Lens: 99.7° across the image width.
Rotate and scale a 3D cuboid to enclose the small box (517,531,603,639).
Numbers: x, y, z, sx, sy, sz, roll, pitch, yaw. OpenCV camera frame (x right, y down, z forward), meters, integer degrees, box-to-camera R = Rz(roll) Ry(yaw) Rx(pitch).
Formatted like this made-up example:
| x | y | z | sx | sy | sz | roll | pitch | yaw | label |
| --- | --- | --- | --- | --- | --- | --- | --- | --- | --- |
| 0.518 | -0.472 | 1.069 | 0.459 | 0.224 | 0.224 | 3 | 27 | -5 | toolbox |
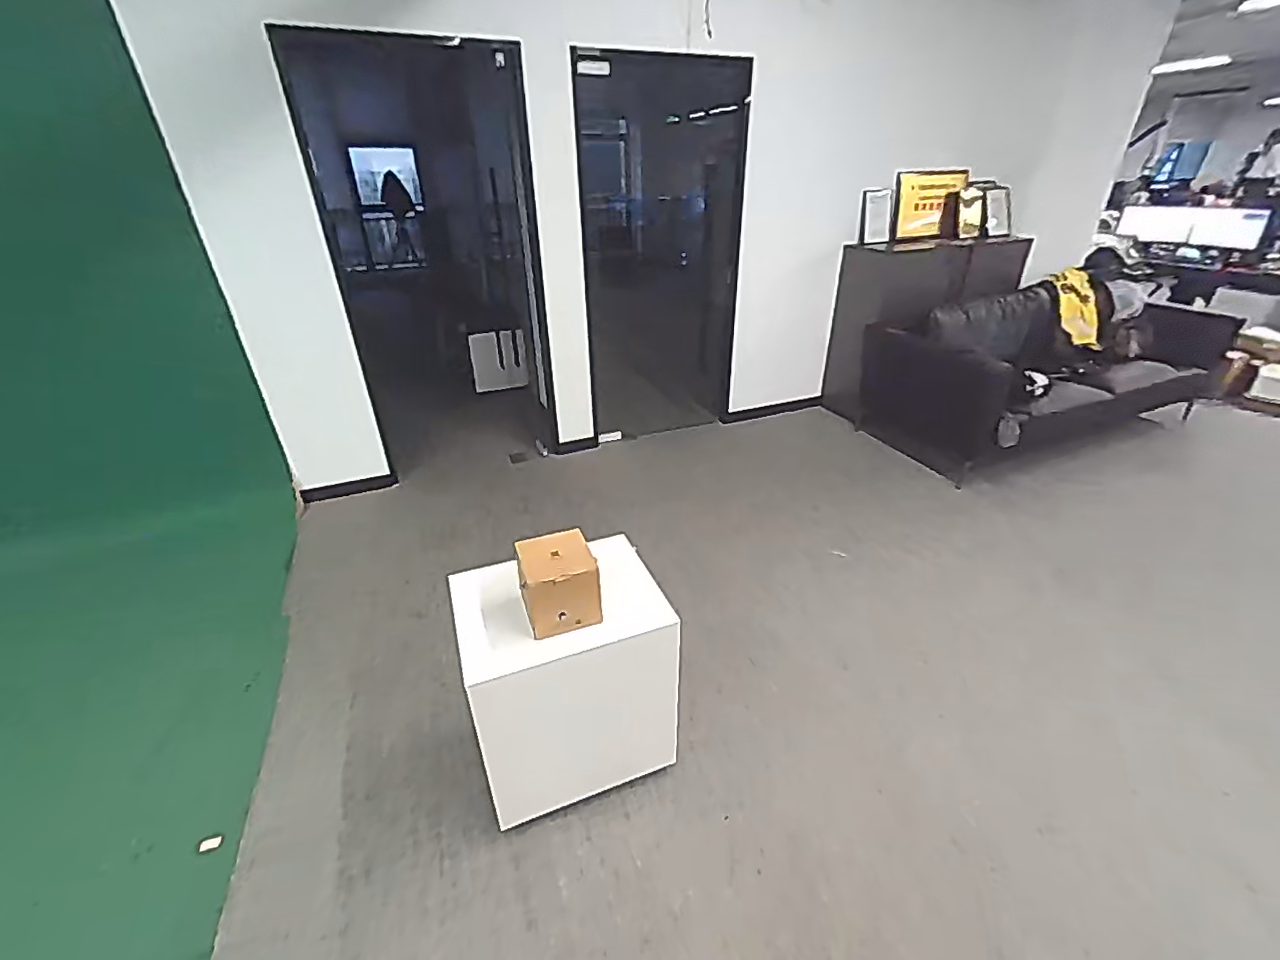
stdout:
| x | y | z | sx | sy | sz | roll | pitch | yaw | label |
| --- | --- | --- | --- | --- | --- | --- | --- | --- | --- |
| -0.193 | 0.249 | 1.297 | 0.168 | 0.176 | 0.179 | -11 | 30 | -18 | small box |
